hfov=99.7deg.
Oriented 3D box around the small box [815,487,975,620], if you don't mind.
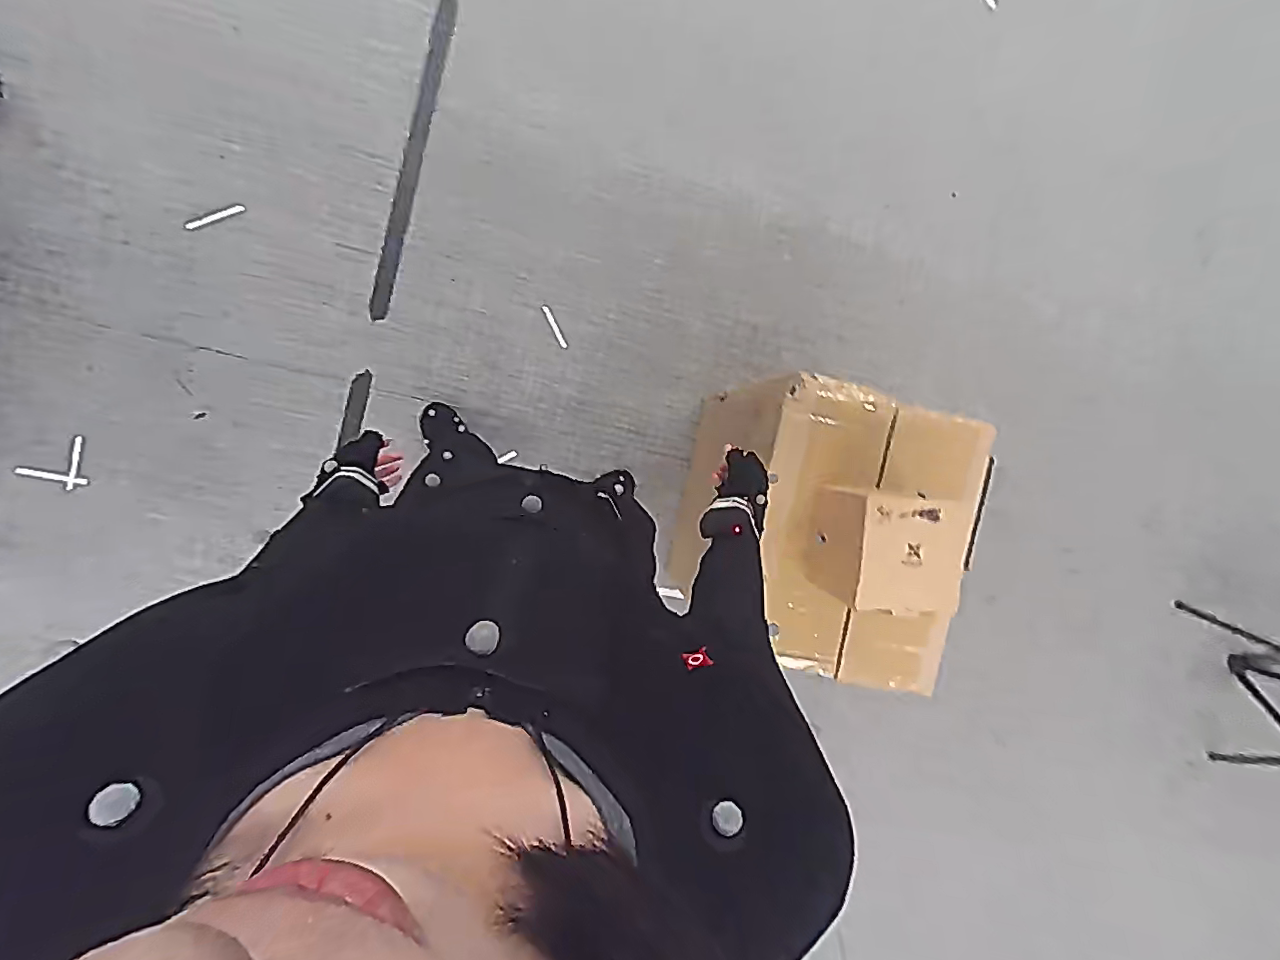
[{"bbox_3d":[0.400,0.111,0.877,0.168,0.176,0.179,4,94,-7],"label":"small box"}]
